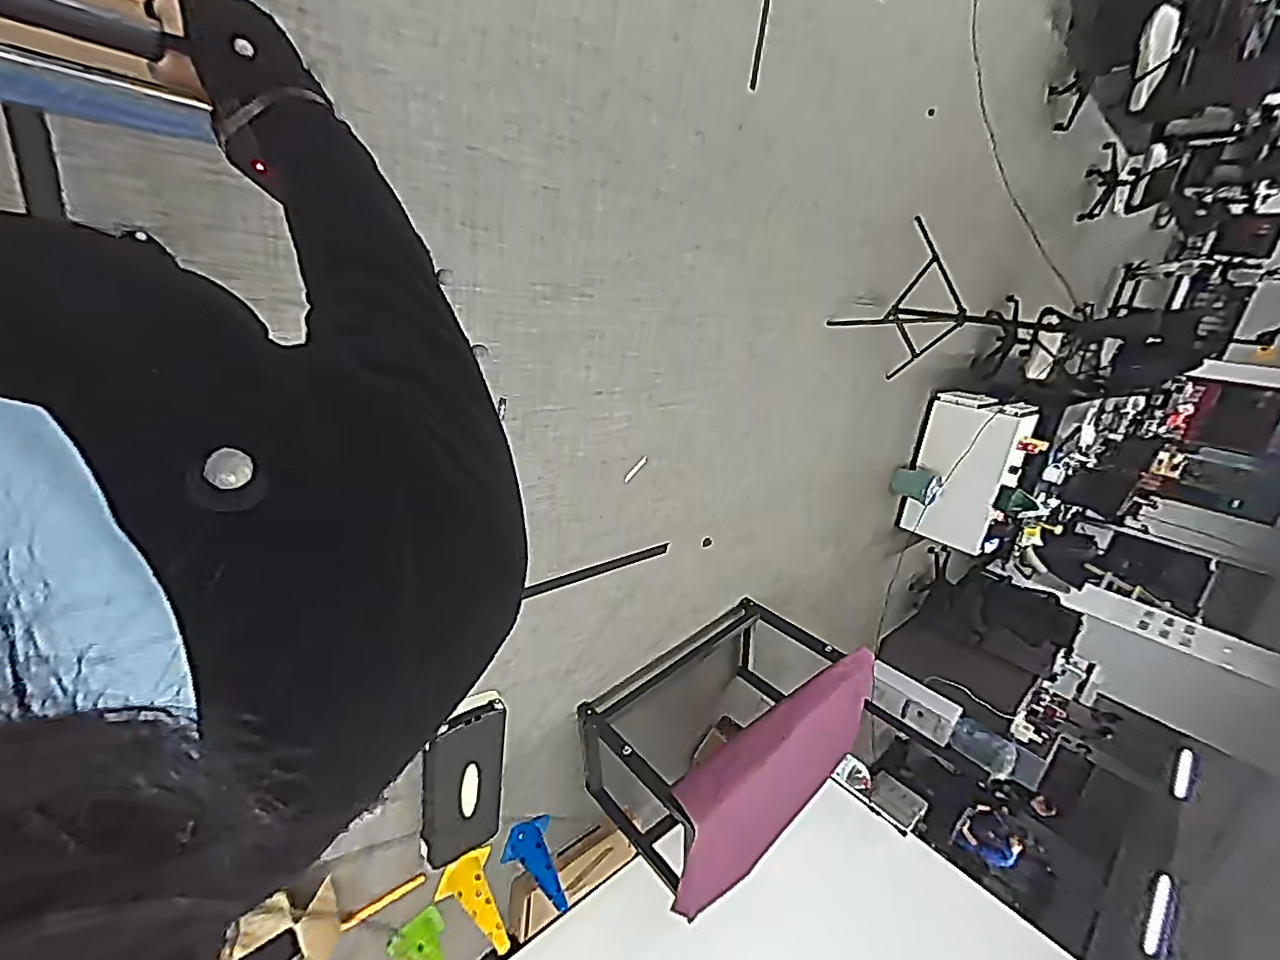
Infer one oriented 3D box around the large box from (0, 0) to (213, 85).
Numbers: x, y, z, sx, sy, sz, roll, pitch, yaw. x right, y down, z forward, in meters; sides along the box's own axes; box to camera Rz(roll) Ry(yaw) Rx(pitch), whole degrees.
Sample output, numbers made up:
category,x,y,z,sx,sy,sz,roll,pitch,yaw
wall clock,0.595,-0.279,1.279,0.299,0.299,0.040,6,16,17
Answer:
category,x,y,z,sx,sy,sz,roll,pitch,yaw
large box,-0.803,-0.739,0.645,0.408,0.320,0.320,-11,116,-42
